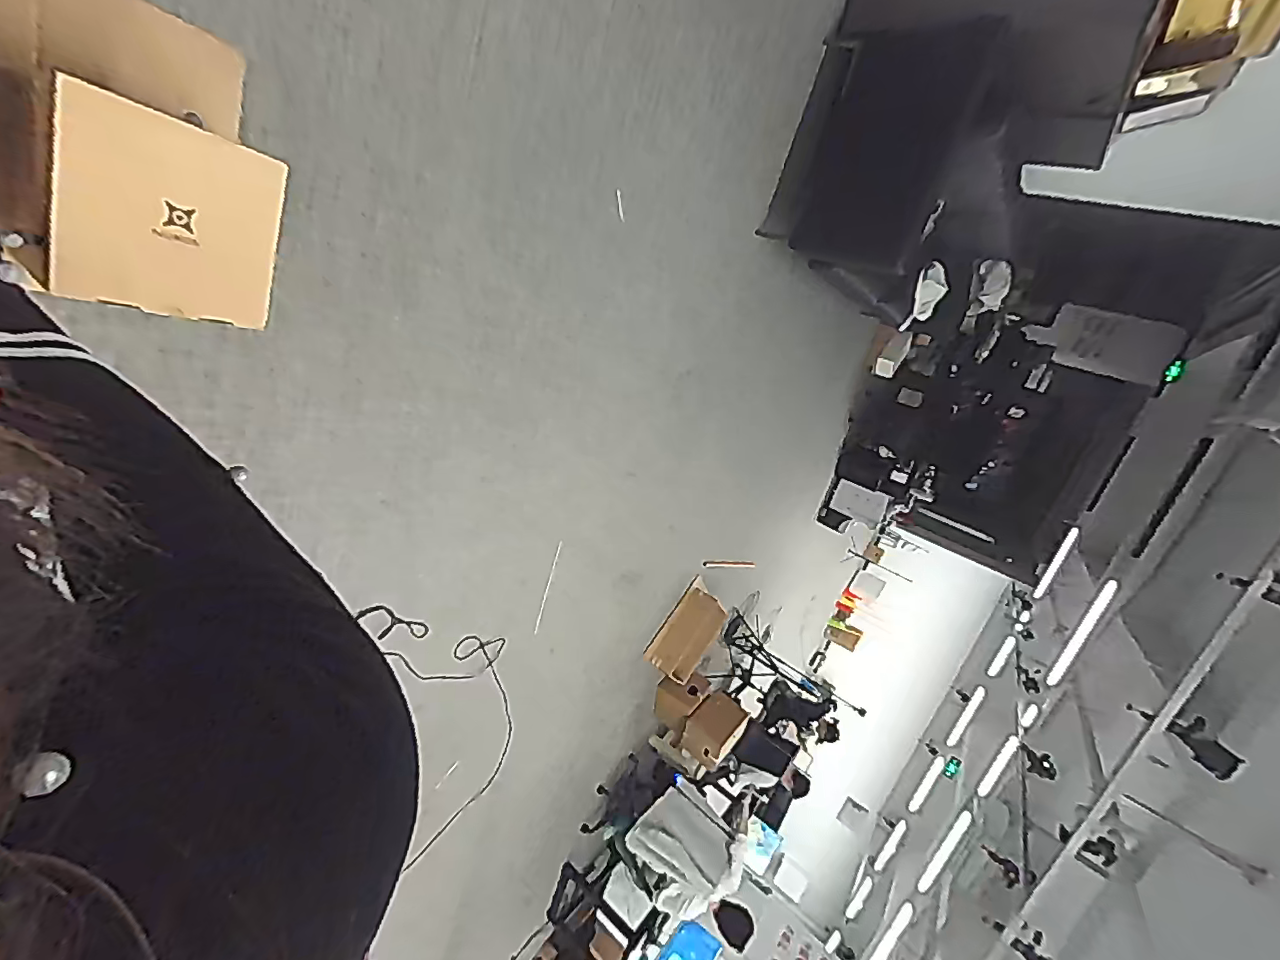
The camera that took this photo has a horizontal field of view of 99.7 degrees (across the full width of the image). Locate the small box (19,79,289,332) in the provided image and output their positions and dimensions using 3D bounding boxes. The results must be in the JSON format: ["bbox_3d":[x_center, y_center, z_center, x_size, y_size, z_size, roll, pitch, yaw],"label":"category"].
[{"bbox_3d":[-0.494,-0.272,0.551,0.168,0.176,0.179,-3,118,-56],"label":"small box"}]
